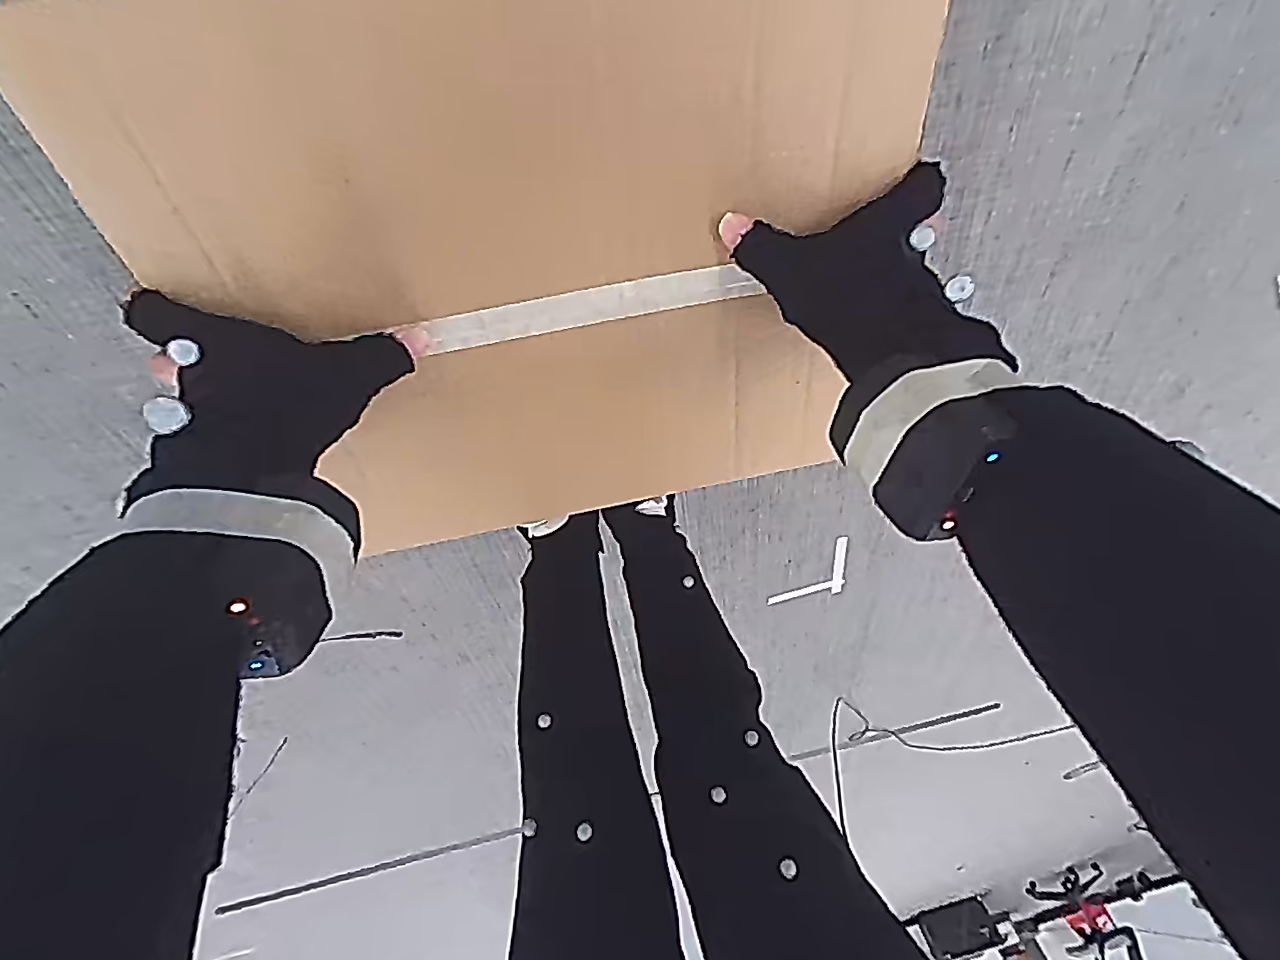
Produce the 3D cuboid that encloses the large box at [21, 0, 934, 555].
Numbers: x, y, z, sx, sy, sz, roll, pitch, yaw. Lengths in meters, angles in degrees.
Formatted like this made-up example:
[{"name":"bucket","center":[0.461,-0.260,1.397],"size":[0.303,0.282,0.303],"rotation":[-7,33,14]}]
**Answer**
[{"name":"large box","center":[-0.069,-0.191,0.435],"size":[0.408,0.320,0.320],"rotation":[-12,132,-5]}]
